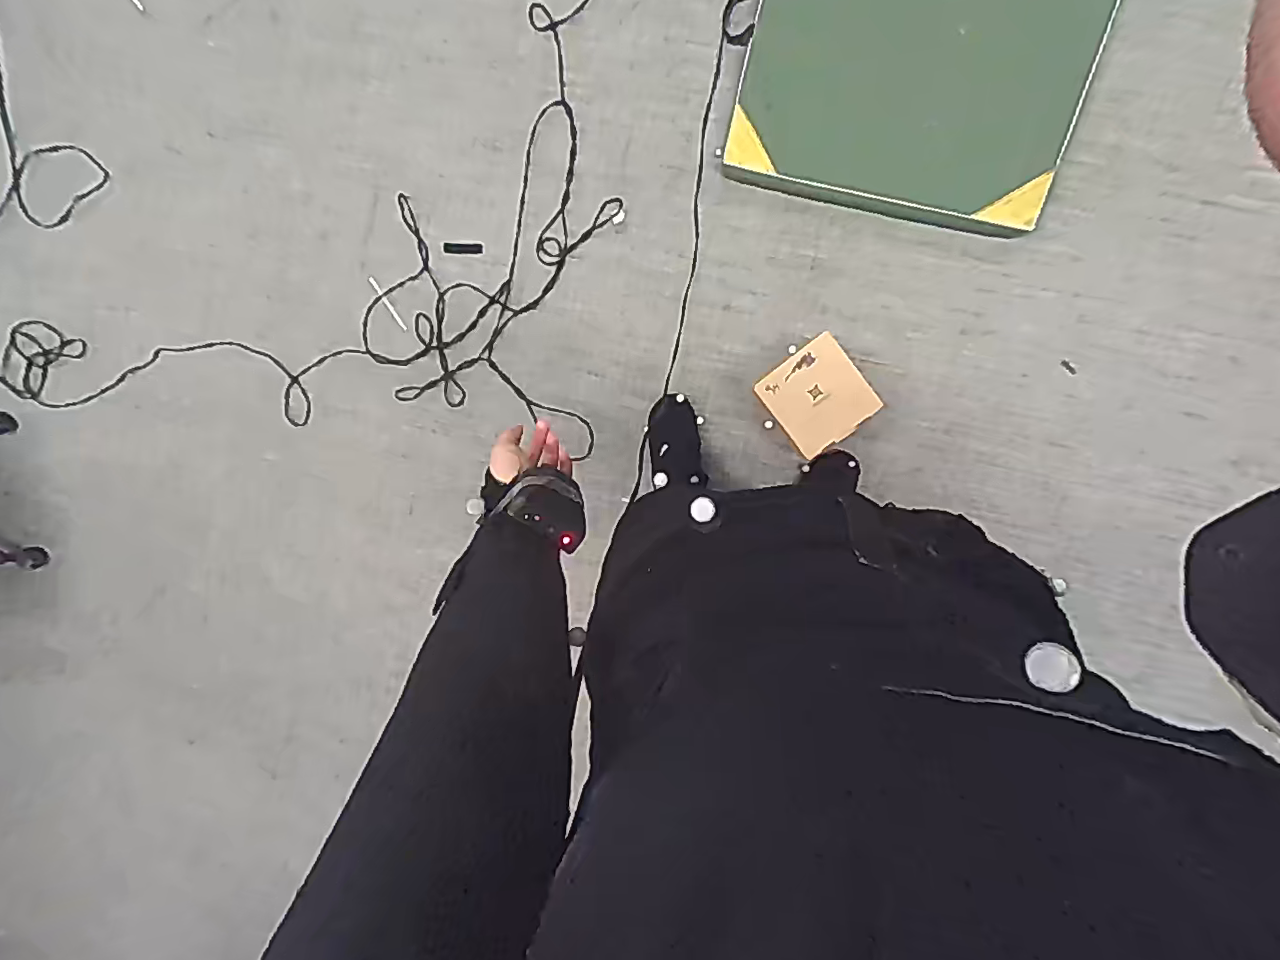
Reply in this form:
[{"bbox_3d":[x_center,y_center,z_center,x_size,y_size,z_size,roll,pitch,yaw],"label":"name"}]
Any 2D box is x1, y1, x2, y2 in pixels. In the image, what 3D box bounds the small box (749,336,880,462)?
[{"bbox_3d":[0.333,-0.161,1.069,0.168,0.176,0.179,-37,92,11],"label":"small box"}]
